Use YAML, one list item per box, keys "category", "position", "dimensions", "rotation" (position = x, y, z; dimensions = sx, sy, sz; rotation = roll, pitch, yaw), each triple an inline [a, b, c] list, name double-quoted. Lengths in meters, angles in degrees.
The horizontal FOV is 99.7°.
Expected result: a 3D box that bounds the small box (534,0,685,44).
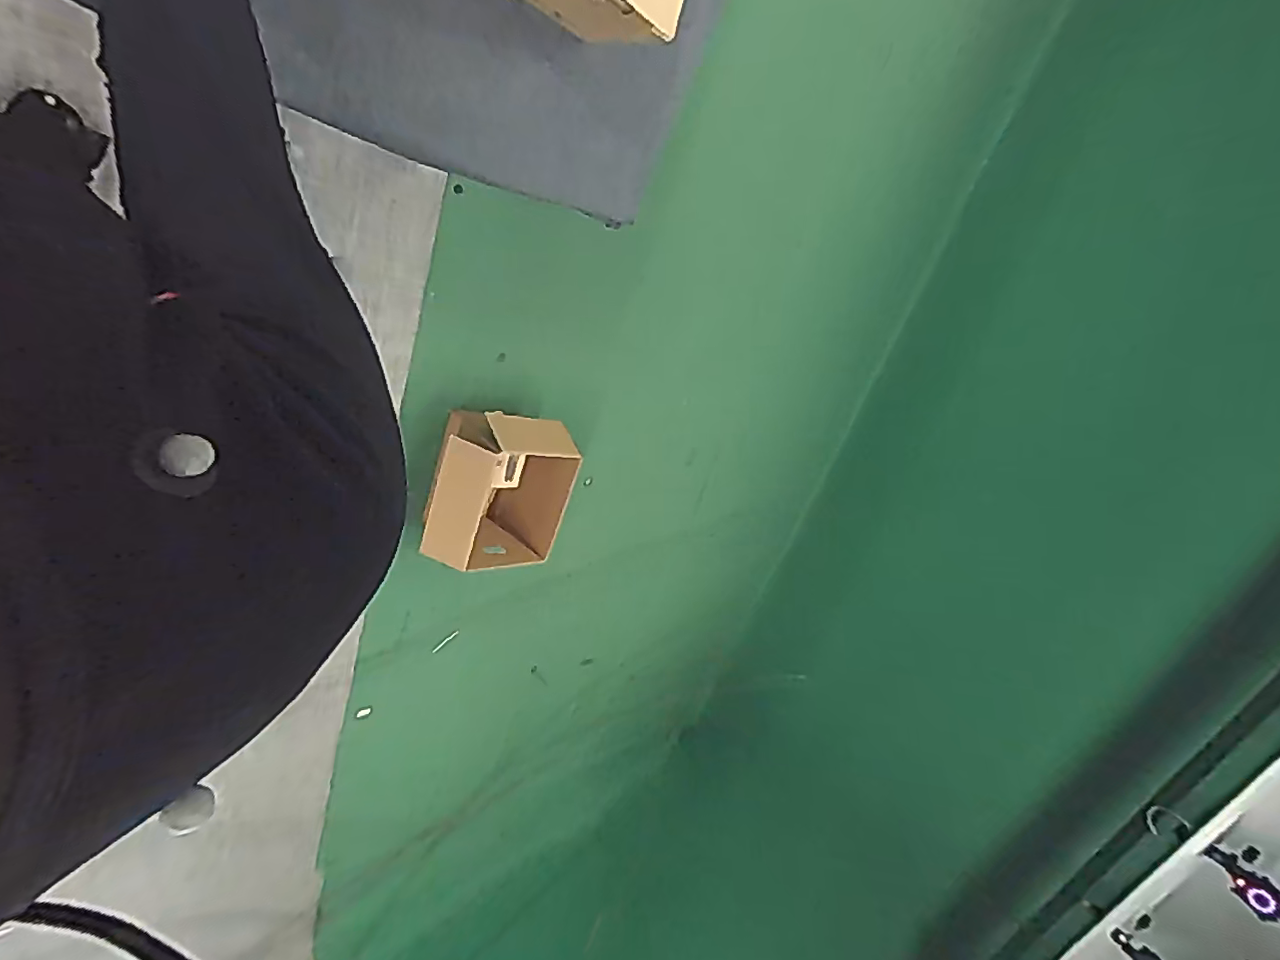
- category: "small box"
  position: [-0.047, -0.601, 0.569]
  dimensions: [0.168, 0.176, 0.179]
  rotation: [-5, 121, -47]
